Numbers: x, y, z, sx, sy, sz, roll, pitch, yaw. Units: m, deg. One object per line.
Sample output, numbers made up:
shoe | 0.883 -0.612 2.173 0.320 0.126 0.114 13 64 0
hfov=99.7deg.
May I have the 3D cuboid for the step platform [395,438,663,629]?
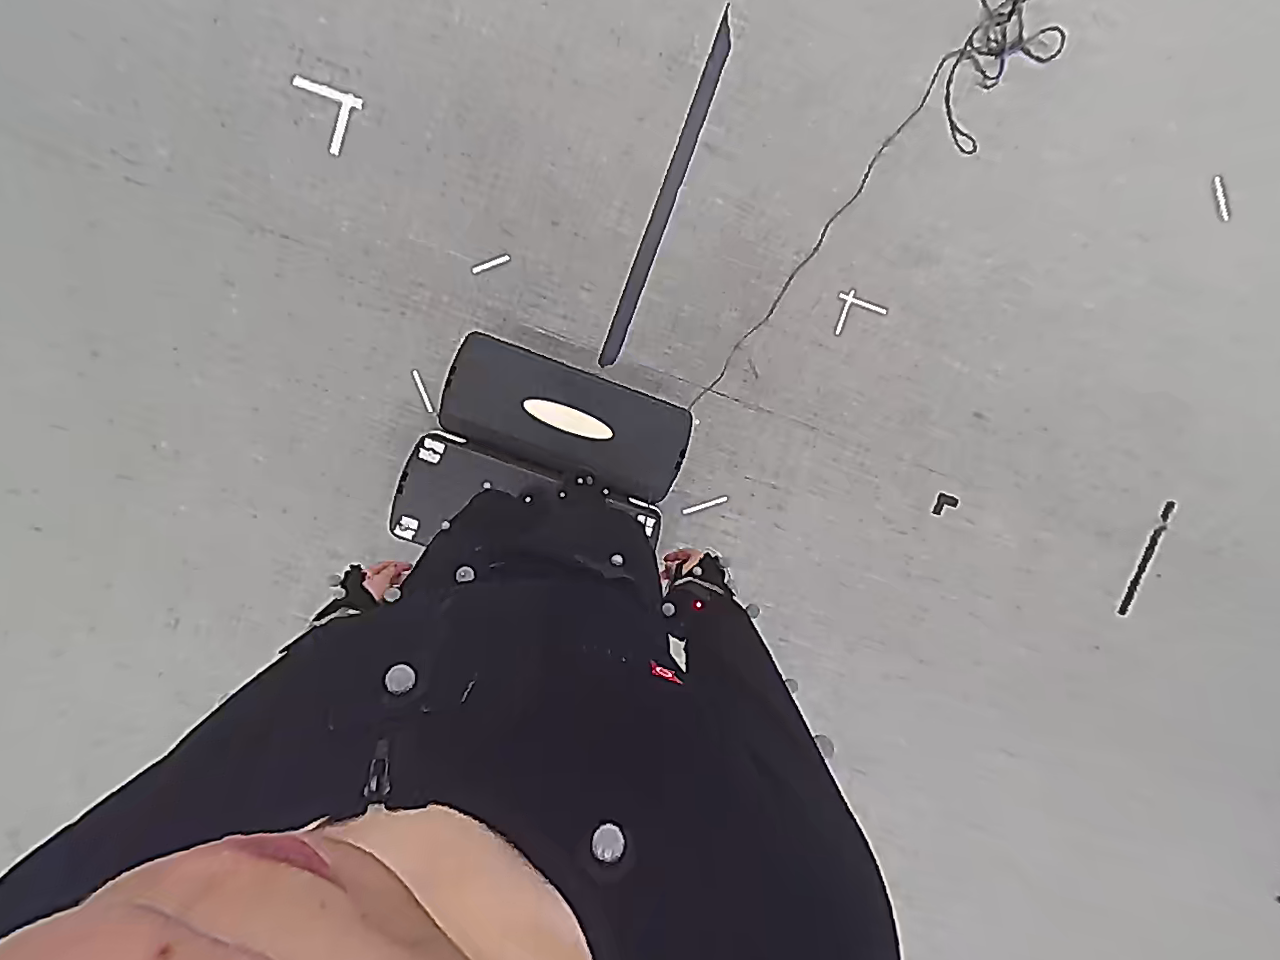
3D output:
step platform | -0.282 0.143 1.455 0.684 0.204 0.286 24 91 -5
